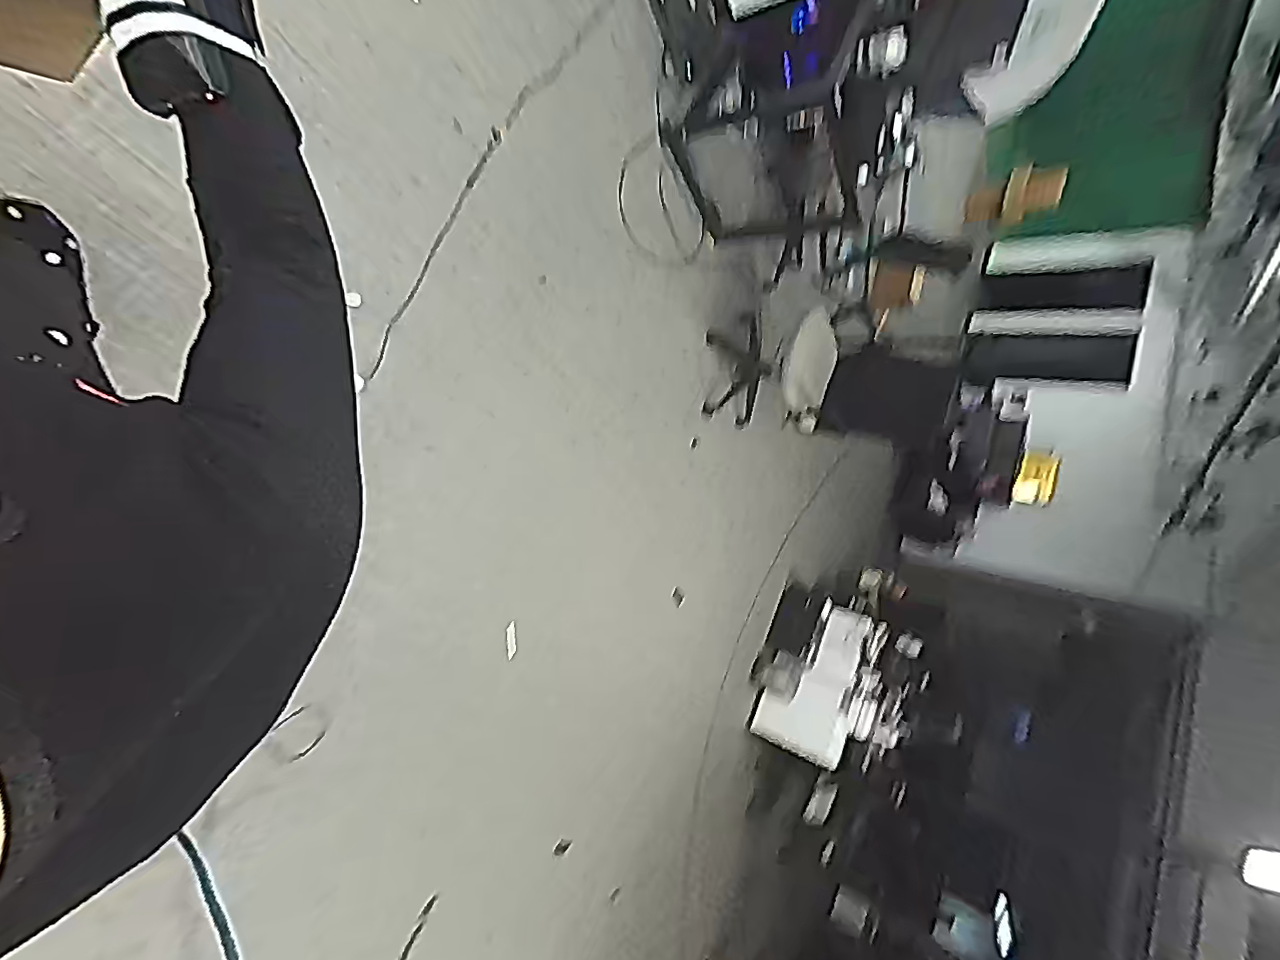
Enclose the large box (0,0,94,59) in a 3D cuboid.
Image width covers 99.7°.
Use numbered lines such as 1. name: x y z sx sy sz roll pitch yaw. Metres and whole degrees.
1. large box: -0.558 -0.468 0.238 0.408 0.320 0.320 -17 118 -49
